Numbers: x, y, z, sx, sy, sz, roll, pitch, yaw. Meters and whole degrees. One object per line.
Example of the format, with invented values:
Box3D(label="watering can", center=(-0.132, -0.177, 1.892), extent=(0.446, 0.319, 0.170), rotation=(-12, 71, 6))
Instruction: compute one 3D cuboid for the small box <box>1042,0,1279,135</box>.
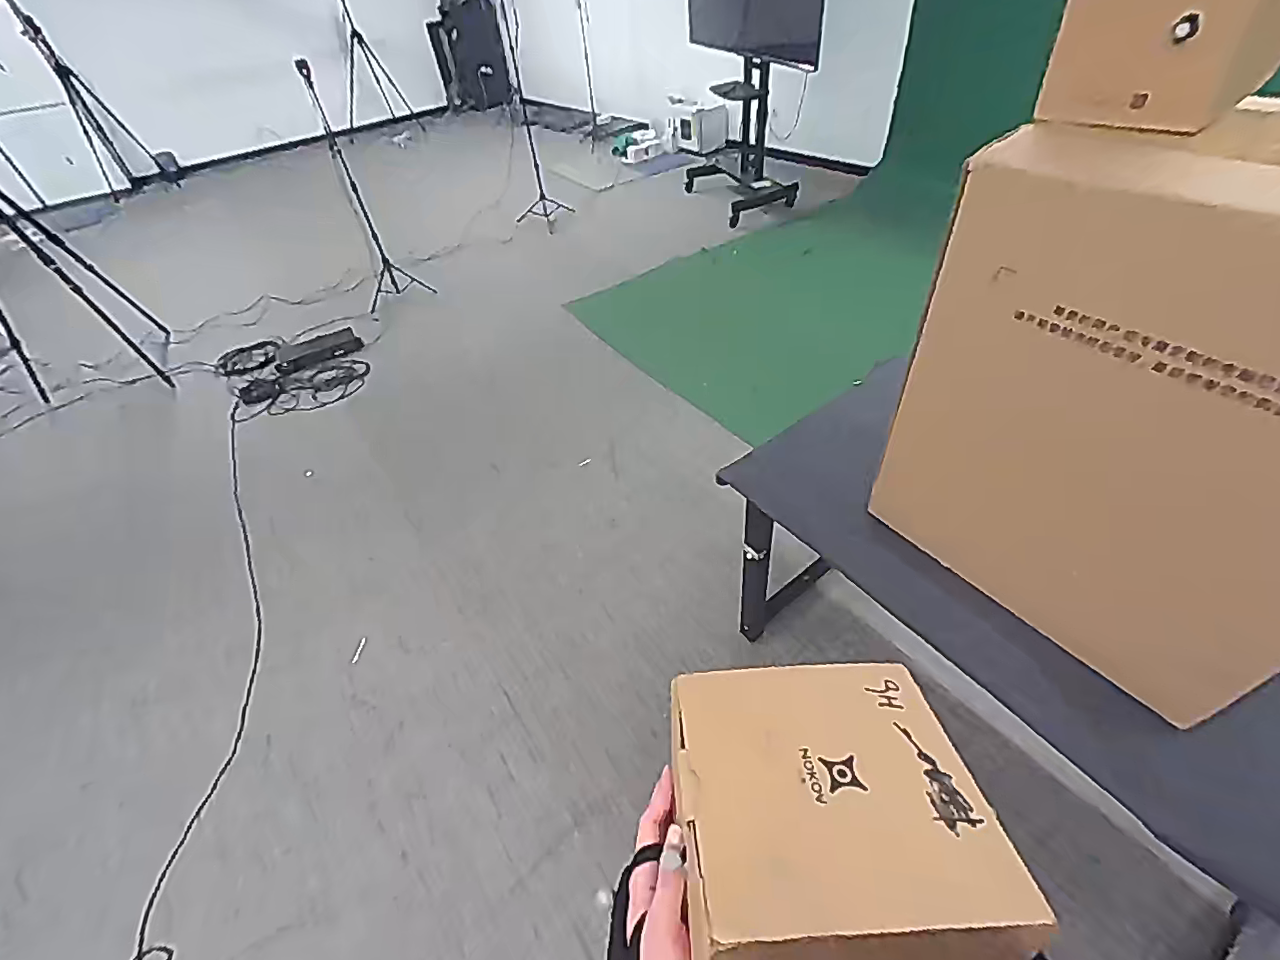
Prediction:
Box3D(label="small box", center=(0.585, -0.499, 0.590), extent=(0.179, 0.176, 0.168), rotation=(-33, 50, -20))

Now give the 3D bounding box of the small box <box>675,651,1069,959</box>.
Box3D(label="small box", center=(0.118, 0.238, 0.359), extent=(0.179, 0.176, 0.168), rotation=(-2, 29, -2))
